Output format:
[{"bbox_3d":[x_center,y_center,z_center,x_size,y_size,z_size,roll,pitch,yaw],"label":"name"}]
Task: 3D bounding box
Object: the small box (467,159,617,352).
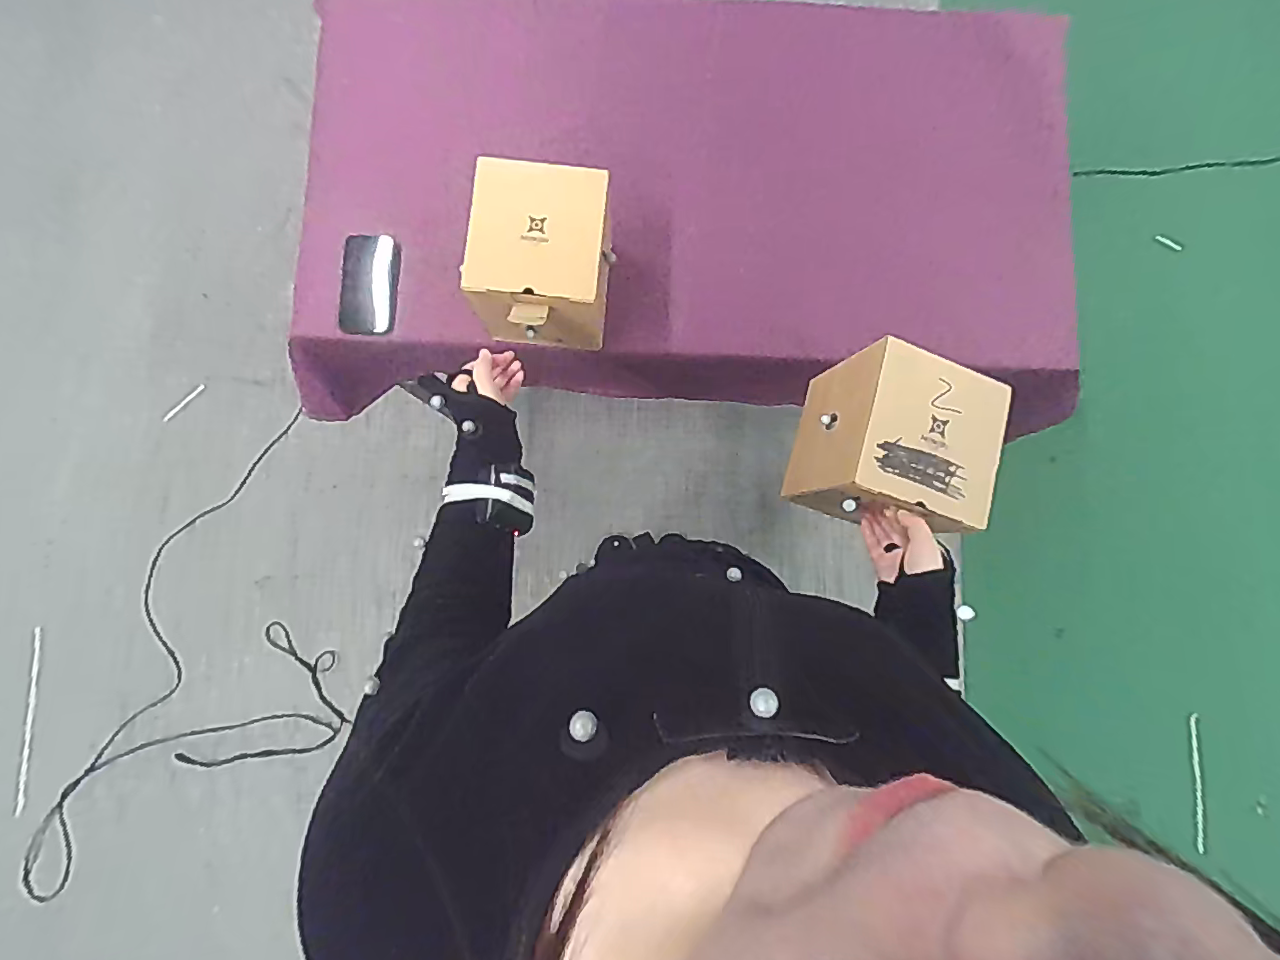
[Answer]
[{"bbox_3d":[-0.124,-0.296,0.744,0.168,0.176,0.179,6,84,-2],"label":"small box"}]
